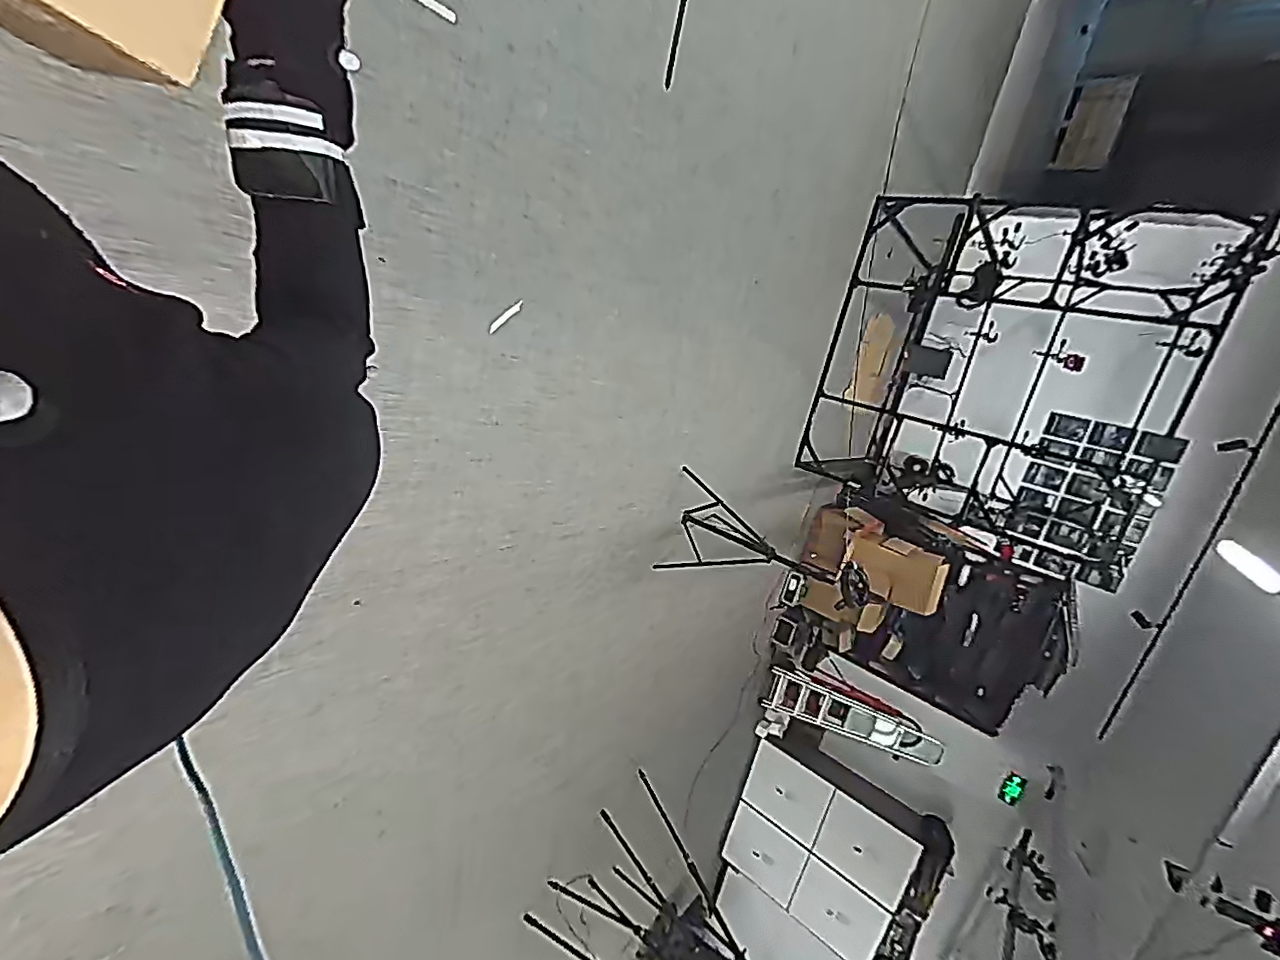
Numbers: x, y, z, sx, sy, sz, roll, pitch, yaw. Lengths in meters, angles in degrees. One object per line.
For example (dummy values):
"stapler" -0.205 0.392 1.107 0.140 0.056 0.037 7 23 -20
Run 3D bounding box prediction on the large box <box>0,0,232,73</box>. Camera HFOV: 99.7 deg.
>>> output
"large box" -0.436 -0.487 0.244 0.408 0.320 0.320 15 103 -59
